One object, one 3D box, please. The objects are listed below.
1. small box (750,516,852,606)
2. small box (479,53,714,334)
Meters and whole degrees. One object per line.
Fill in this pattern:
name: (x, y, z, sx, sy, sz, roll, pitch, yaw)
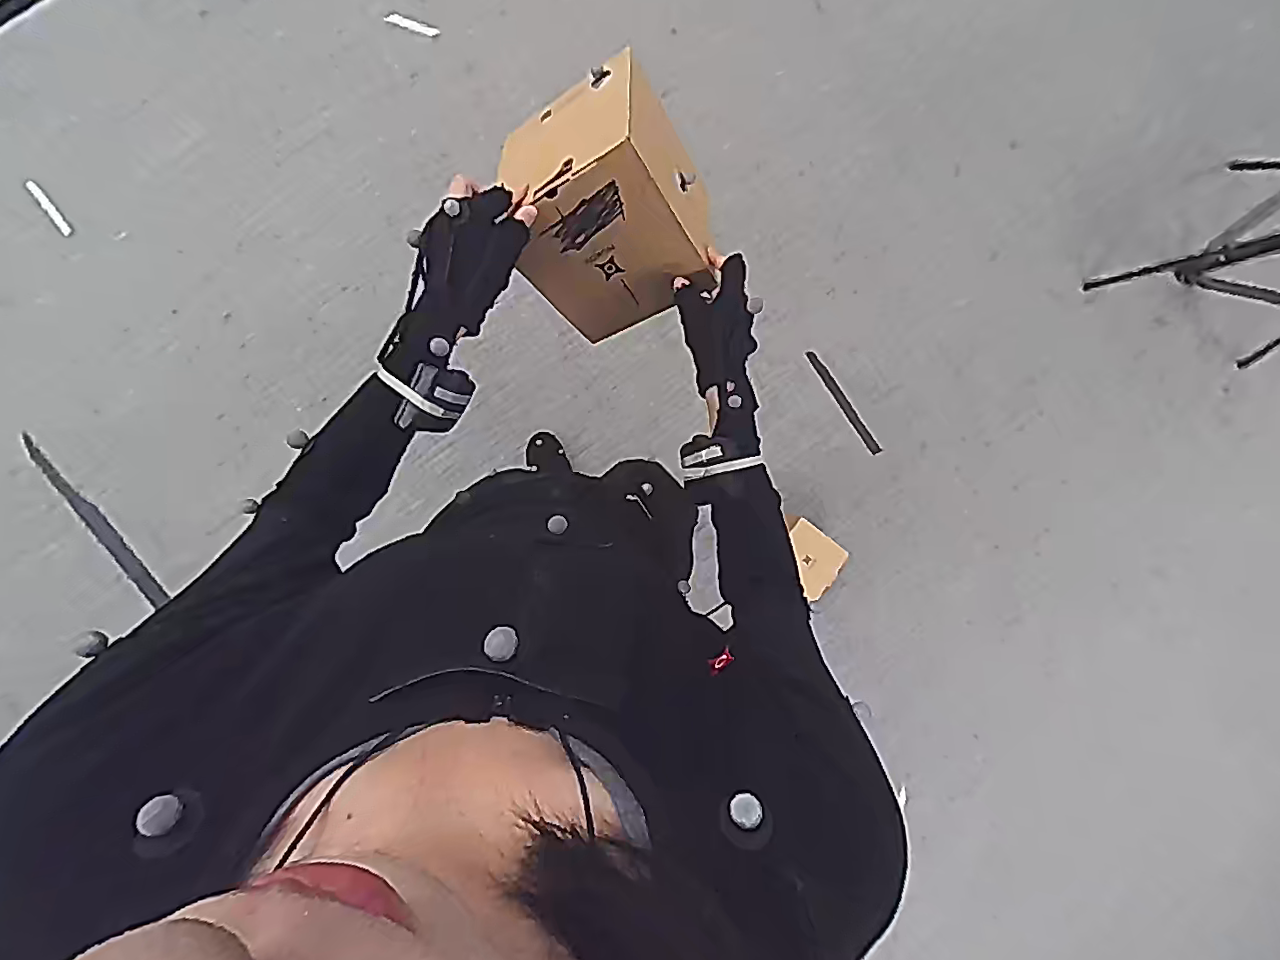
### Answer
small box: (0.433, 0.213, 1.484, 0.179, 0.176, 0.168, 36, 88, -5)
small box: (-0.038, -0.295, 0.565, 0.168, 0.179, 0.176, -18, 55, 28)
